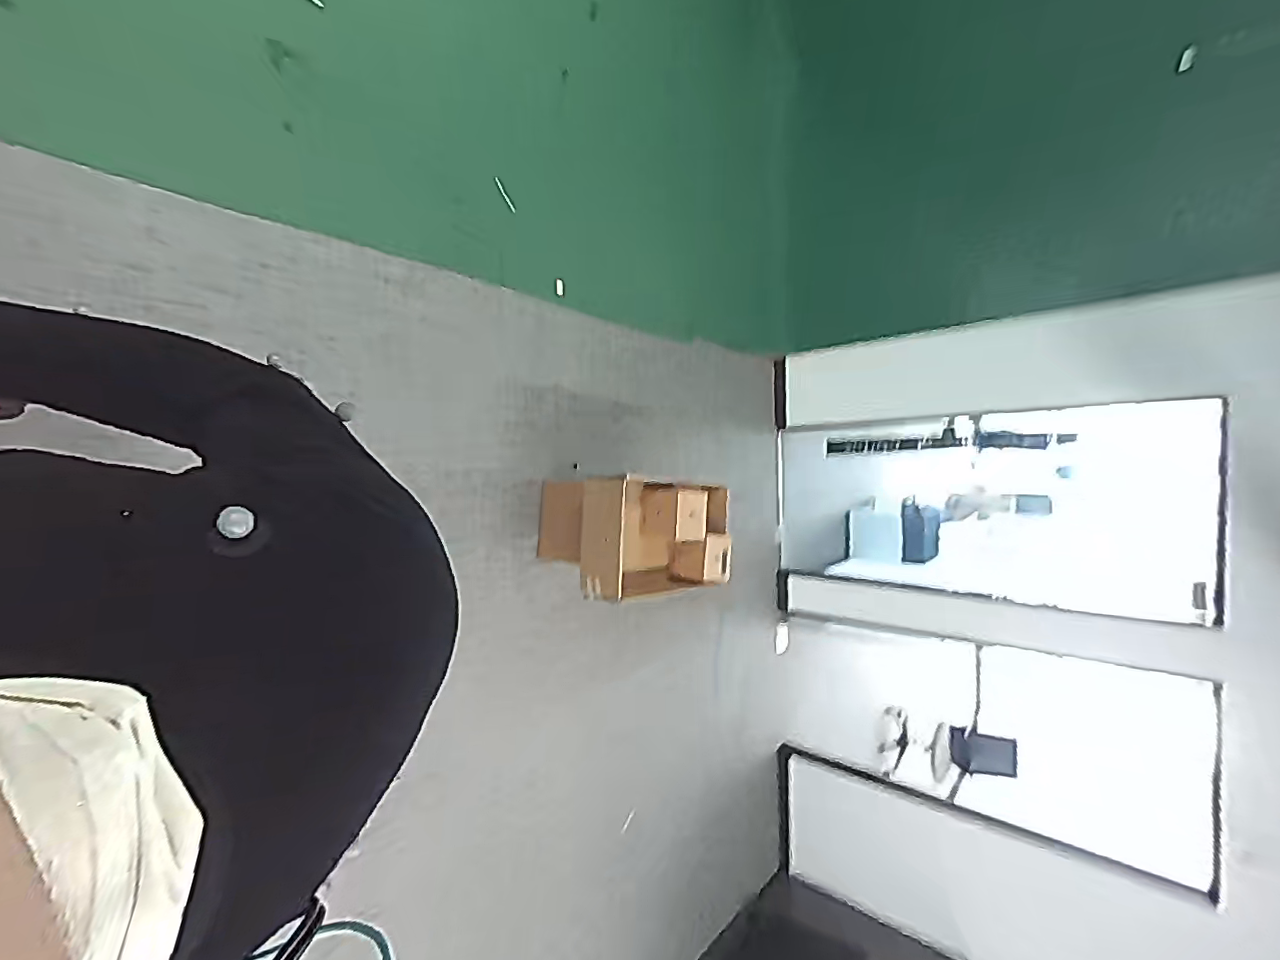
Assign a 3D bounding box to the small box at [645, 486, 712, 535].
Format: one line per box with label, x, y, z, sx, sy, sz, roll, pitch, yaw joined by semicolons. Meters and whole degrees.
small box;0.134;0.108;1.922;0.179;0.176;0.168;5;88;-48
